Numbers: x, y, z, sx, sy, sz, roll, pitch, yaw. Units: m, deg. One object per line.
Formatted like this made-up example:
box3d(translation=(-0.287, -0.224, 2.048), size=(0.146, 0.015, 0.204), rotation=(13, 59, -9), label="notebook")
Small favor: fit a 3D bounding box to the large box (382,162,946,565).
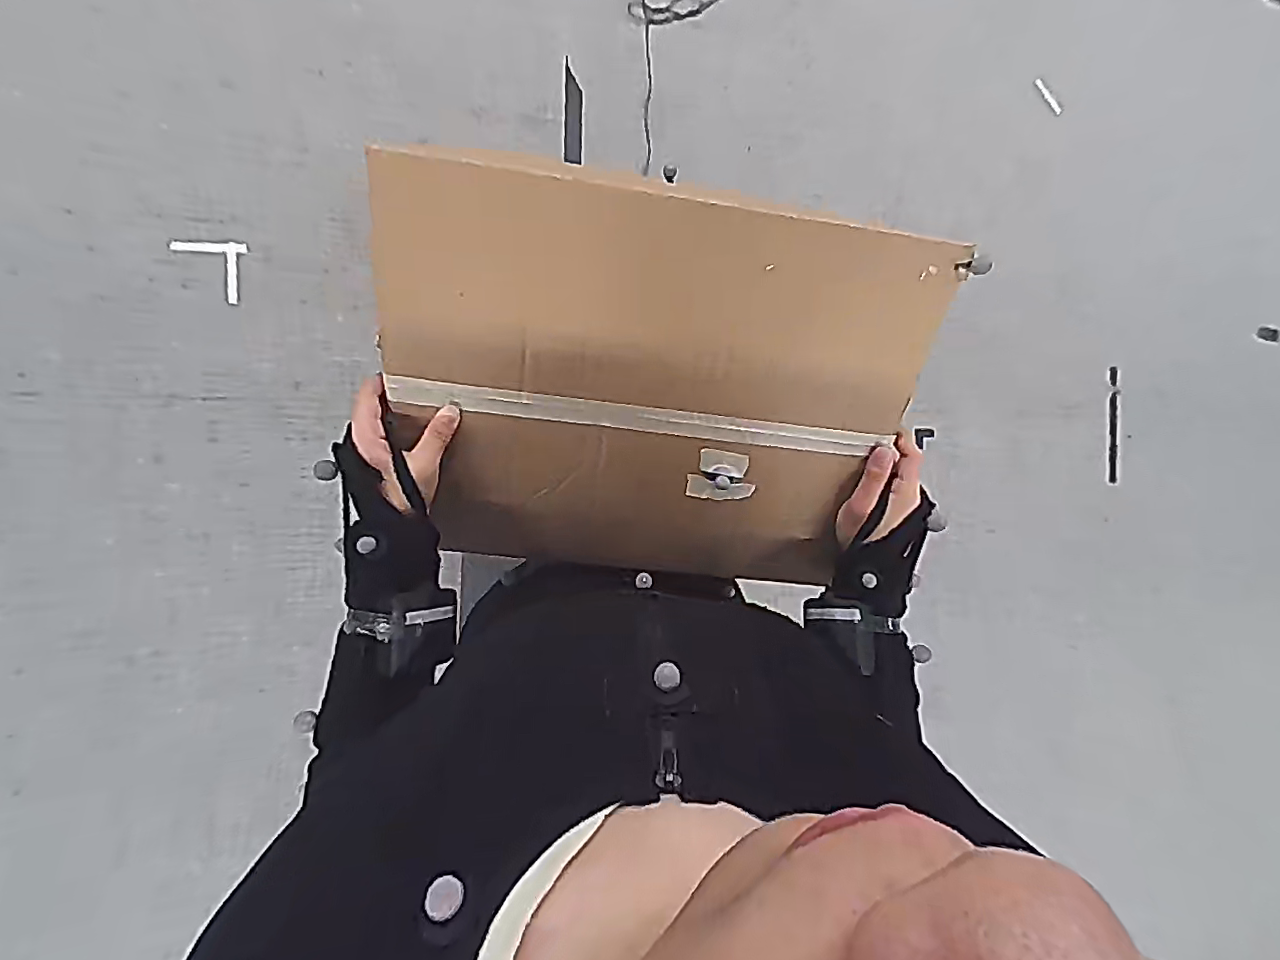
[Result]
box3d(translation=(-0.001, -0.135, 0.572), size=(0.408, 0.320, 0.320), rotation=(5, 122, -7), label="large box")
